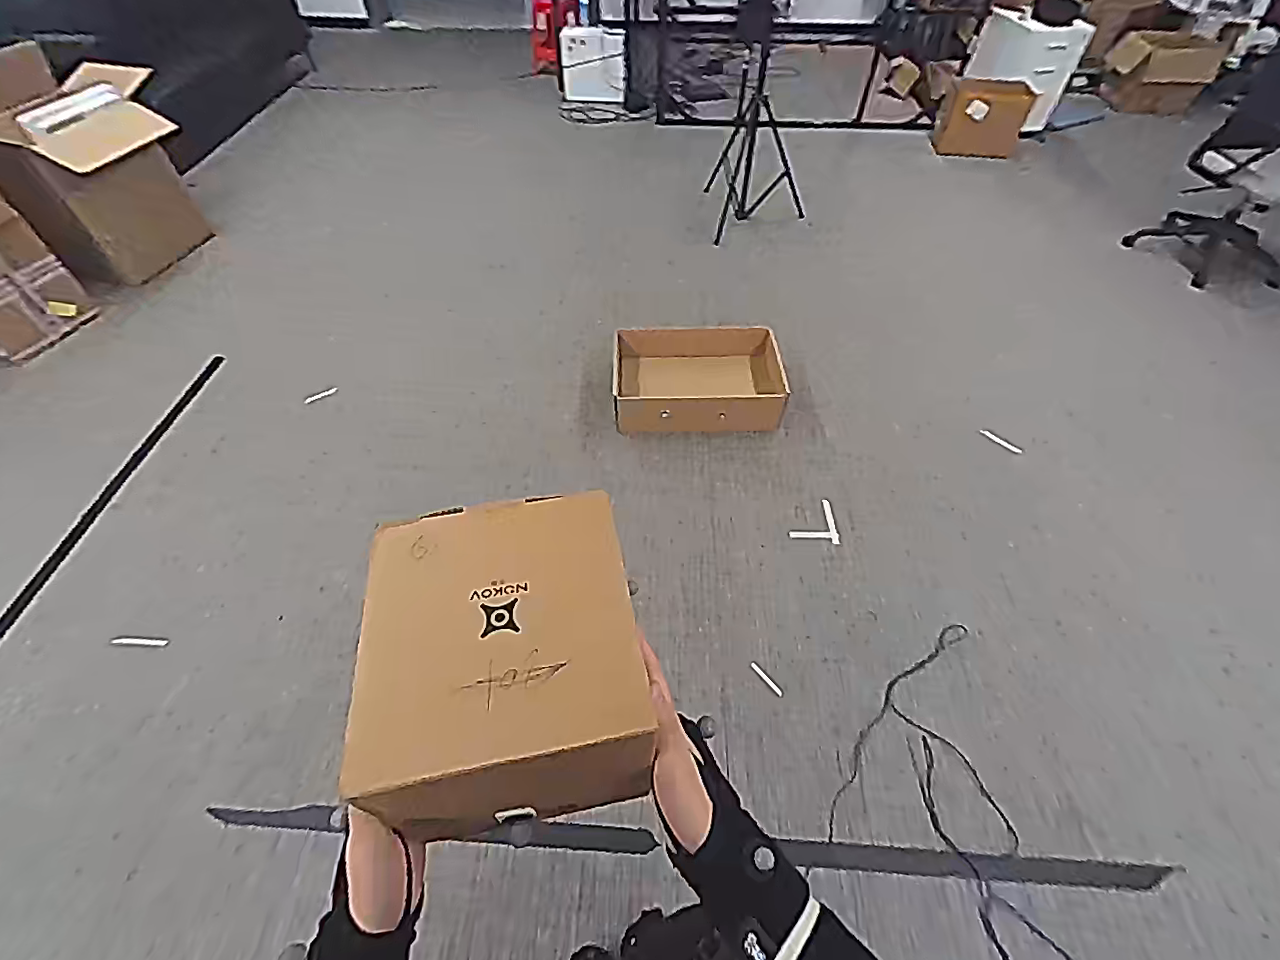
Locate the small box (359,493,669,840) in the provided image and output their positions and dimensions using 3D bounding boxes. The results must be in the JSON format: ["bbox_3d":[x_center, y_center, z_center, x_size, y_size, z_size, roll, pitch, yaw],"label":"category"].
[{"bbox_3d":[-0.082,0.137,0.399,0.168,0.176,0.179,-9,51,-9],"label":"small box"}]
